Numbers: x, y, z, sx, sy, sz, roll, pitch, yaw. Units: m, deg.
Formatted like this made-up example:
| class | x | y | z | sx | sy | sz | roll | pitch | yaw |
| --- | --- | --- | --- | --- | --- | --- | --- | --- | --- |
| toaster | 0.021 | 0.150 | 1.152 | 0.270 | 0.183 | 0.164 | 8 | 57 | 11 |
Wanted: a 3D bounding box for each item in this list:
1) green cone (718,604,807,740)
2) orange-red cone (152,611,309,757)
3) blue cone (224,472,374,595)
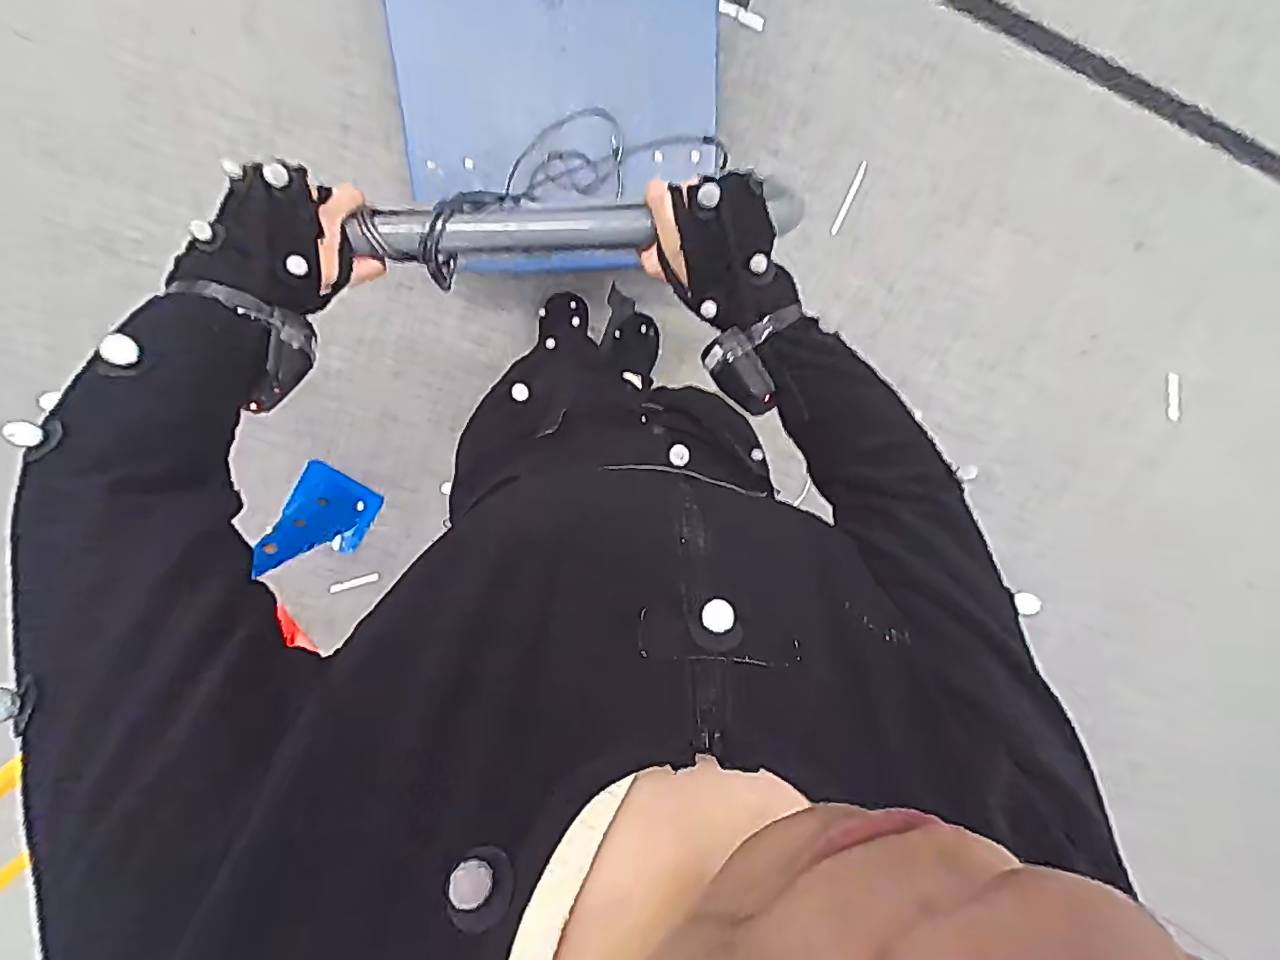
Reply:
| class | x | y | z | sx | sy | sz | roll | pitch | yaw |
| --- | --- | --- | --- | --- | --- | --- | --- | --- | --- |
| green cone | 0.338 | 0.496 | 1.358 | 0.200 | 0.368 | 0.202 | 6 | 108 | -5 |
| orange-red cone | -1.008 | 0.507 | 1.291 | 0.199 | 0.360 | 0.198 | -24 | 108 | 3 |
| blue cone | -0.777 | 0.139 | 1.202 | 0.193 | 0.380 | 0.192 | 34 | 103 | -13 |
